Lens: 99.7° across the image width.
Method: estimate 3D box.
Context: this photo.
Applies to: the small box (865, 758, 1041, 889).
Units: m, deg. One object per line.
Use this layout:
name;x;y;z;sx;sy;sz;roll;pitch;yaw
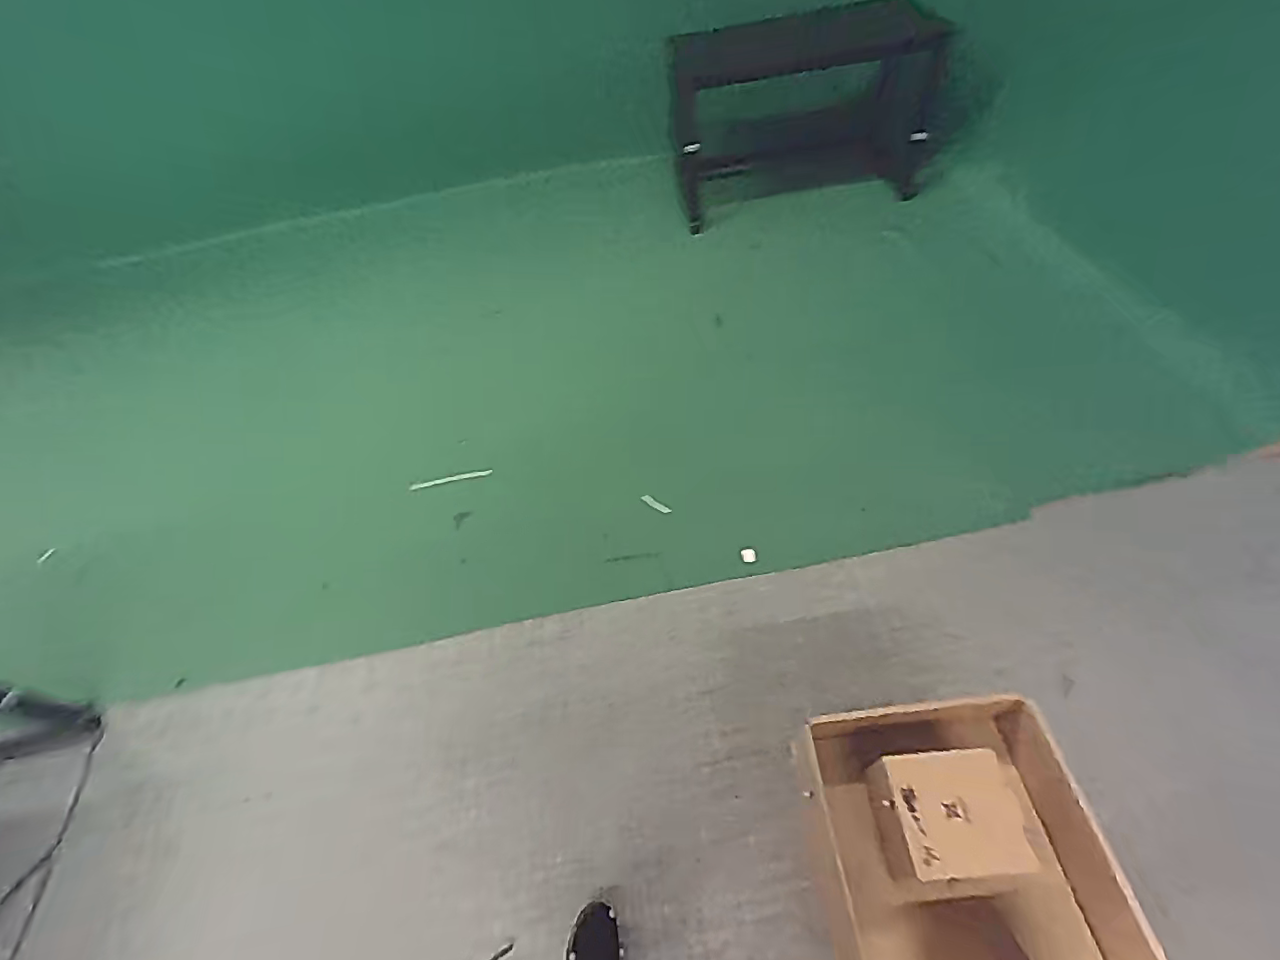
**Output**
small box;0.491;0.561;0.881;0.179;0.176;0.168;-5;51;4
